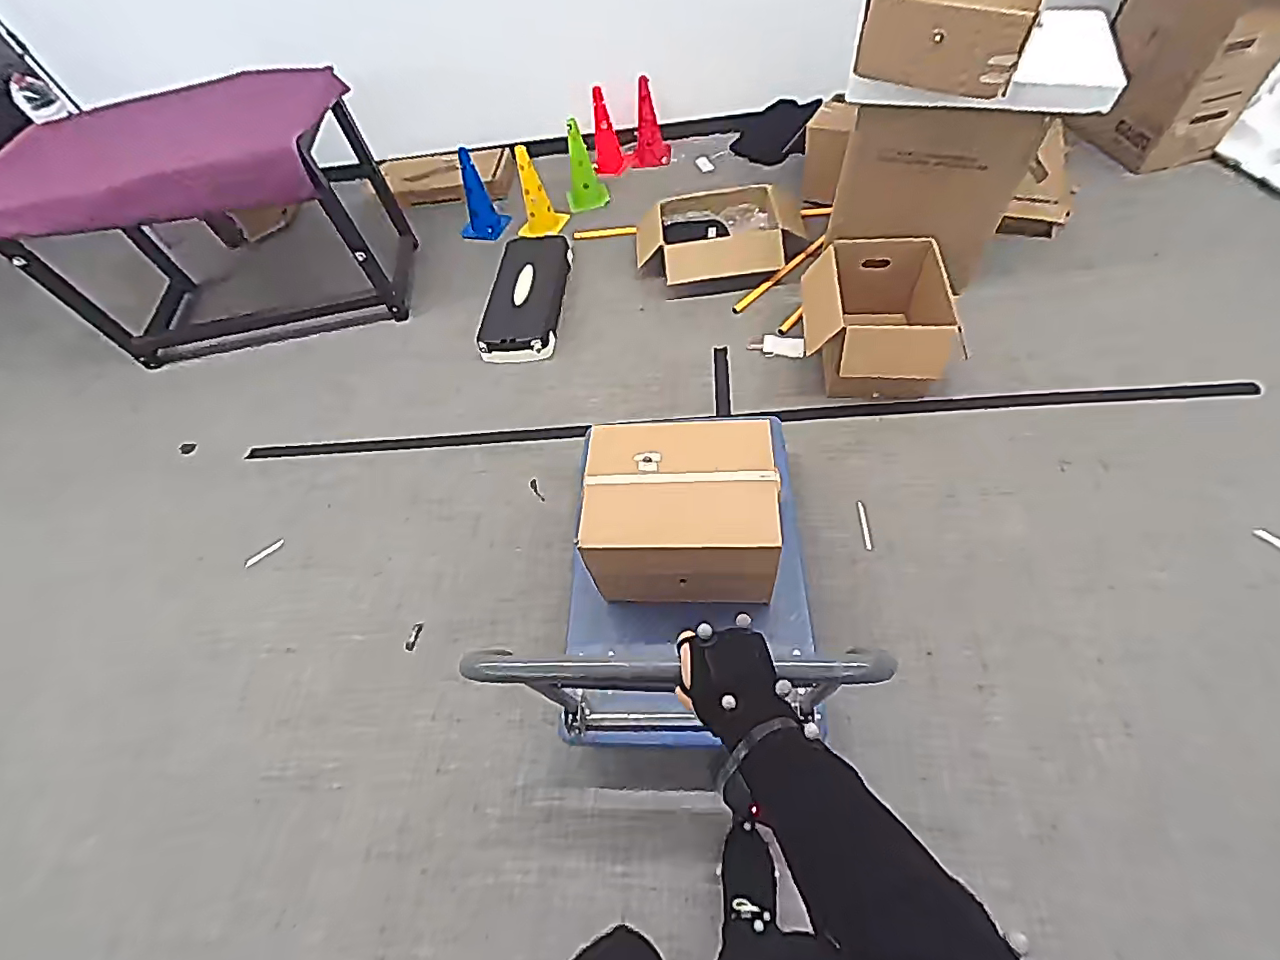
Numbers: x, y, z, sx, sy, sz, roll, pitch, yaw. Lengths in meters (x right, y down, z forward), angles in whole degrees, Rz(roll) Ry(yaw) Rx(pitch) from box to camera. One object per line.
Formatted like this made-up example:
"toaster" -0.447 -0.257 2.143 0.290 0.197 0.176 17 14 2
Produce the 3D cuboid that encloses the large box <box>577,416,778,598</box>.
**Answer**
"large box" 0.095 0.076 1.260 0.408 0.320 0.320 -2 56 8
